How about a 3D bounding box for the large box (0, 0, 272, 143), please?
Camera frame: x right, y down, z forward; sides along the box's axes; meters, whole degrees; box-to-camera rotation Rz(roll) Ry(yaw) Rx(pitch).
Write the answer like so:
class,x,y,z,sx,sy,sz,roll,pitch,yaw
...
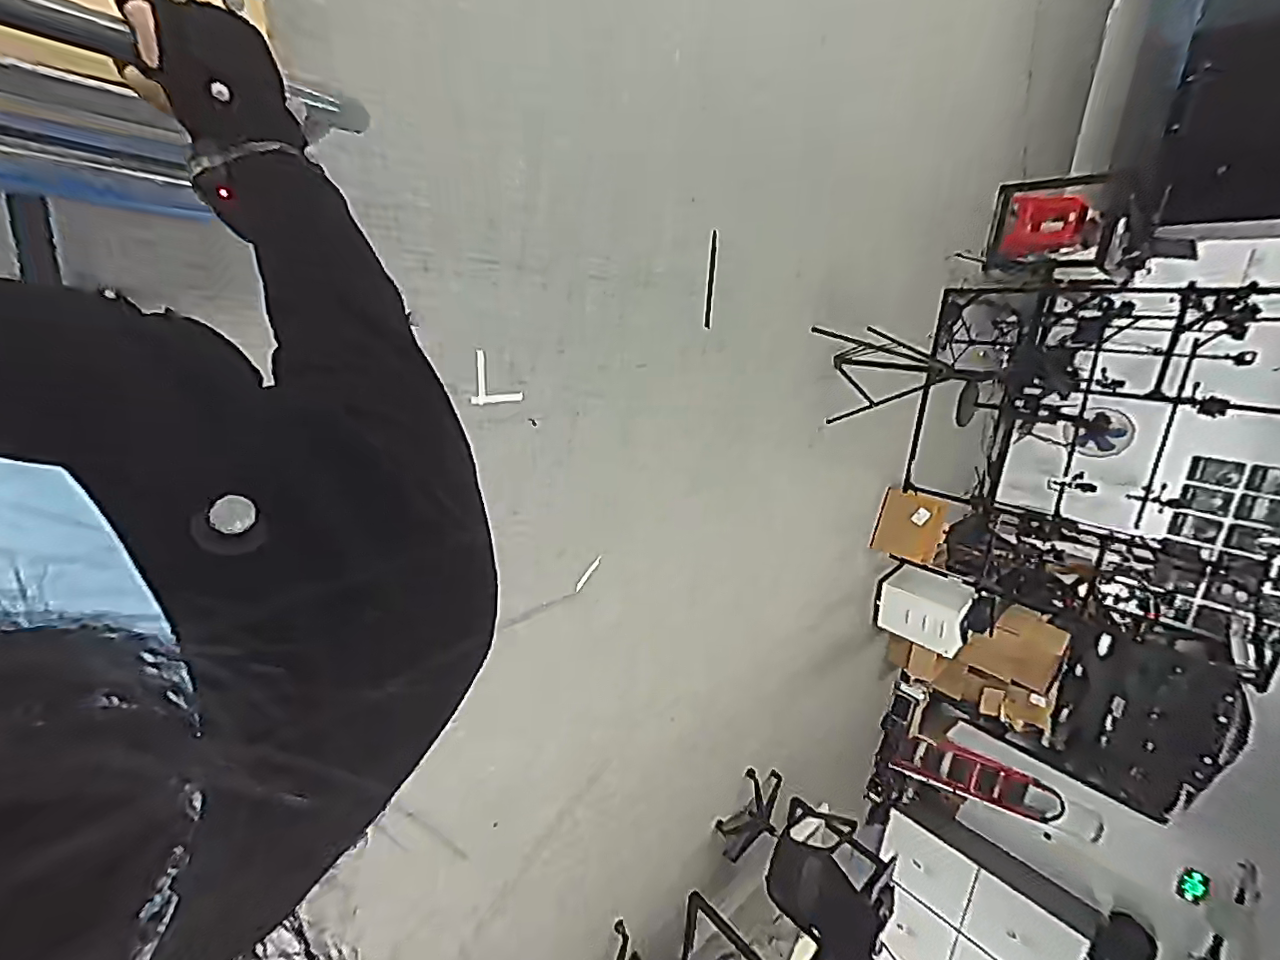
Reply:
class,x,y,z,sx,sy,sz,roll,pitch,yaw
large box,-0.779,-0.684,0.711,0.408,0.320,0.320,-14,115,-42
